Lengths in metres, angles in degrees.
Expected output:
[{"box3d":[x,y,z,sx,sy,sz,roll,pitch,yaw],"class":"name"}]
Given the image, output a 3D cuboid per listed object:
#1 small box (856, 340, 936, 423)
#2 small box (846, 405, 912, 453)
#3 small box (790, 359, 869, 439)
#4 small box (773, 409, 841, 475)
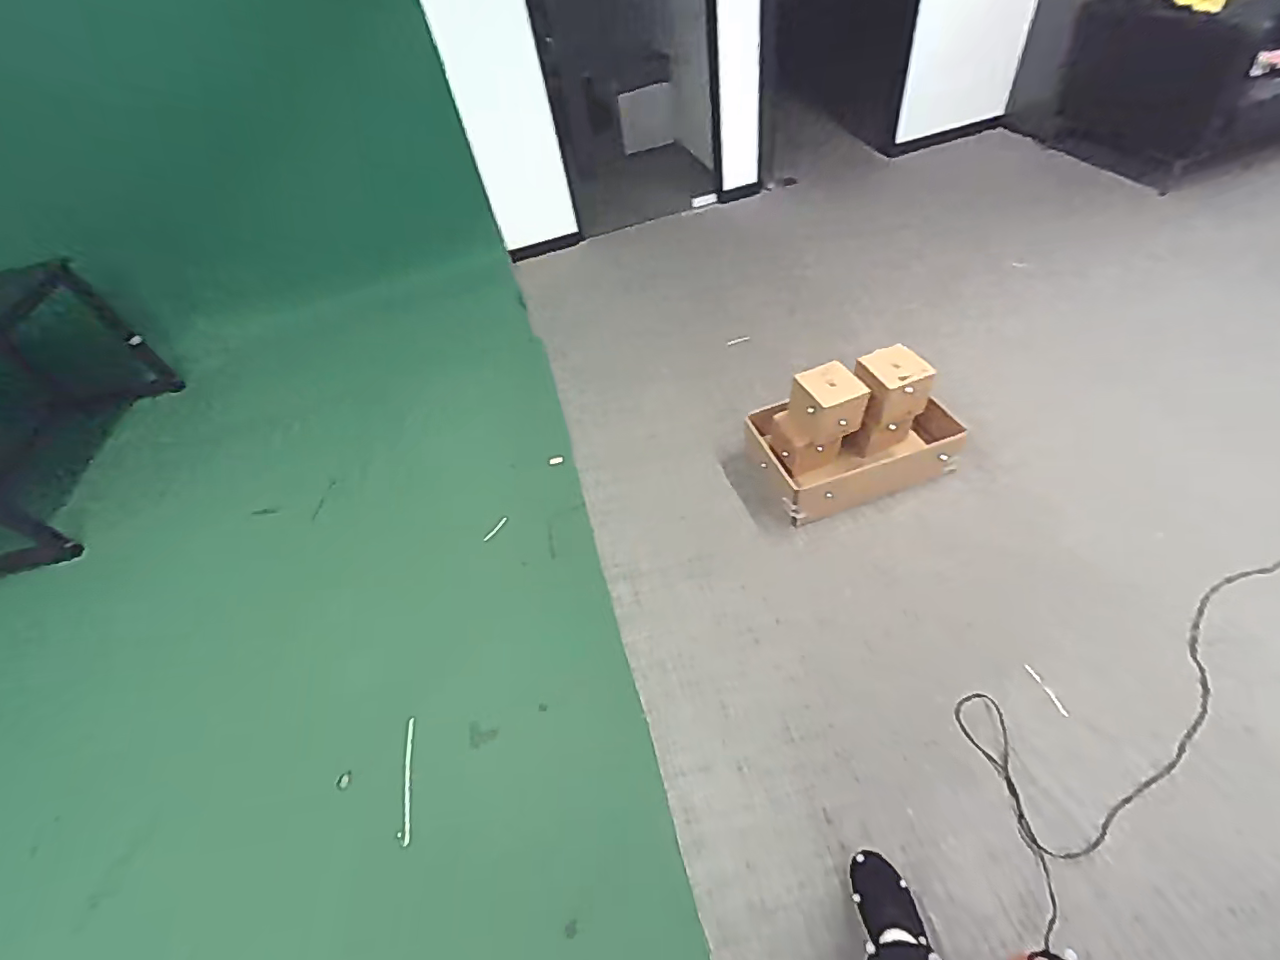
[{"box3d":[0.813,-0.317,1.750,0.168,0.176,0.179,-22,48,-5],"class":"small box"},{"box3d":[0.826,-0.225,1.887,0.179,0.176,0.168,-25,50,-9],"class":"small box"},{"box3d":[0.603,-0.253,1.742,0.168,0.176,0.179,-22,50,-10],"class":"small box"},{"box3d":[0.575,-0.145,1.871,0.179,0.176,0.168,-20,50,-8],"class":"small box"}]
